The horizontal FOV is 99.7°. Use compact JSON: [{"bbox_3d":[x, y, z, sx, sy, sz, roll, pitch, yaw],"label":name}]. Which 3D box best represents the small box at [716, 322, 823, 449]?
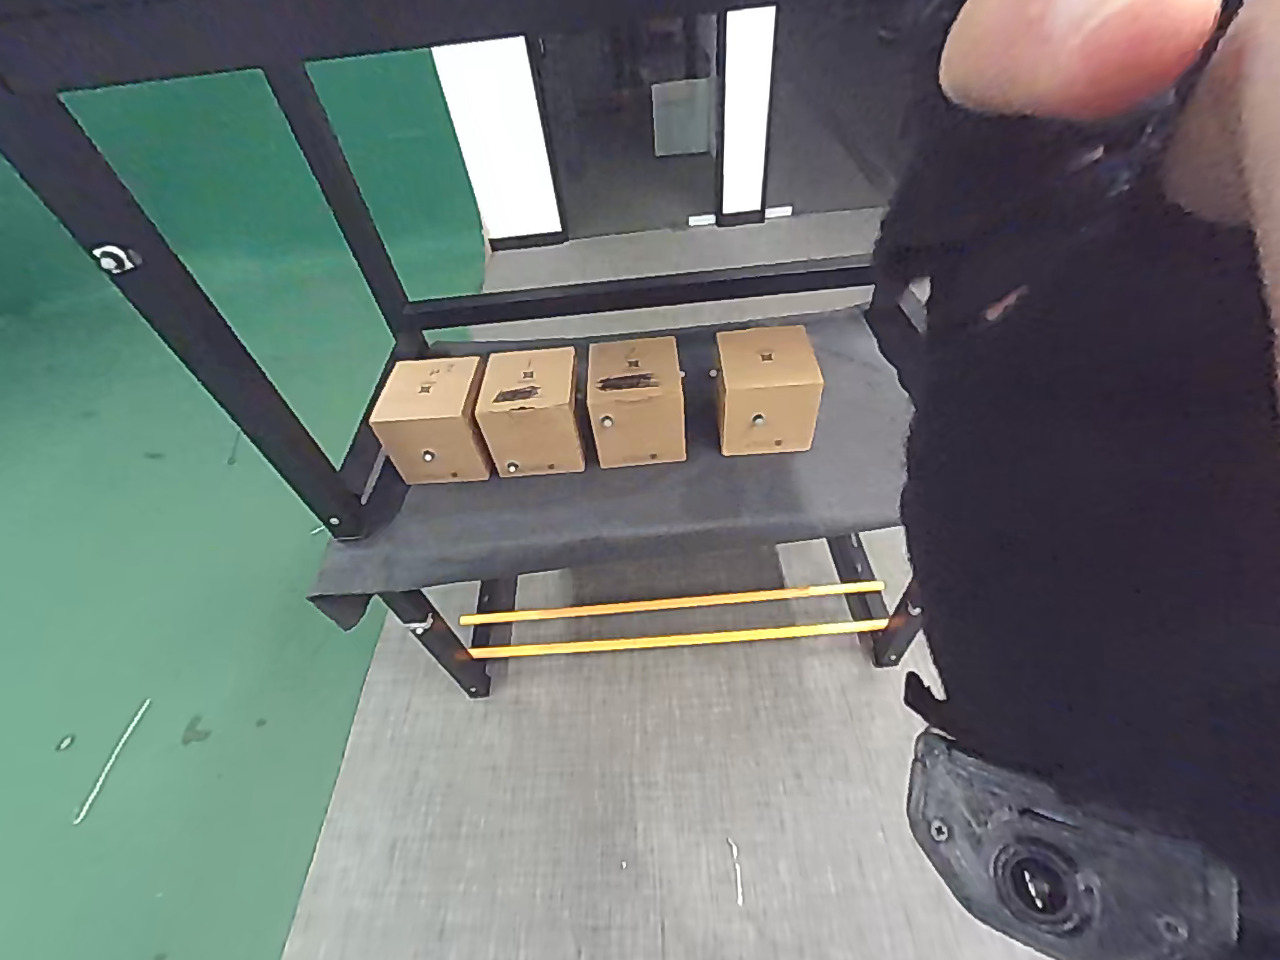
[{"bbox_3d":[0.232,-0.171,1.012,0.168,0.176,0.179,-3,48,3],"label":"small box"}]

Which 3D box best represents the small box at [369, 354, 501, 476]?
[{"bbox_3d":[-0.377,-0.118,1.034,0.168,0.176,0.179,-2,48,3],"label":"small box"}]
